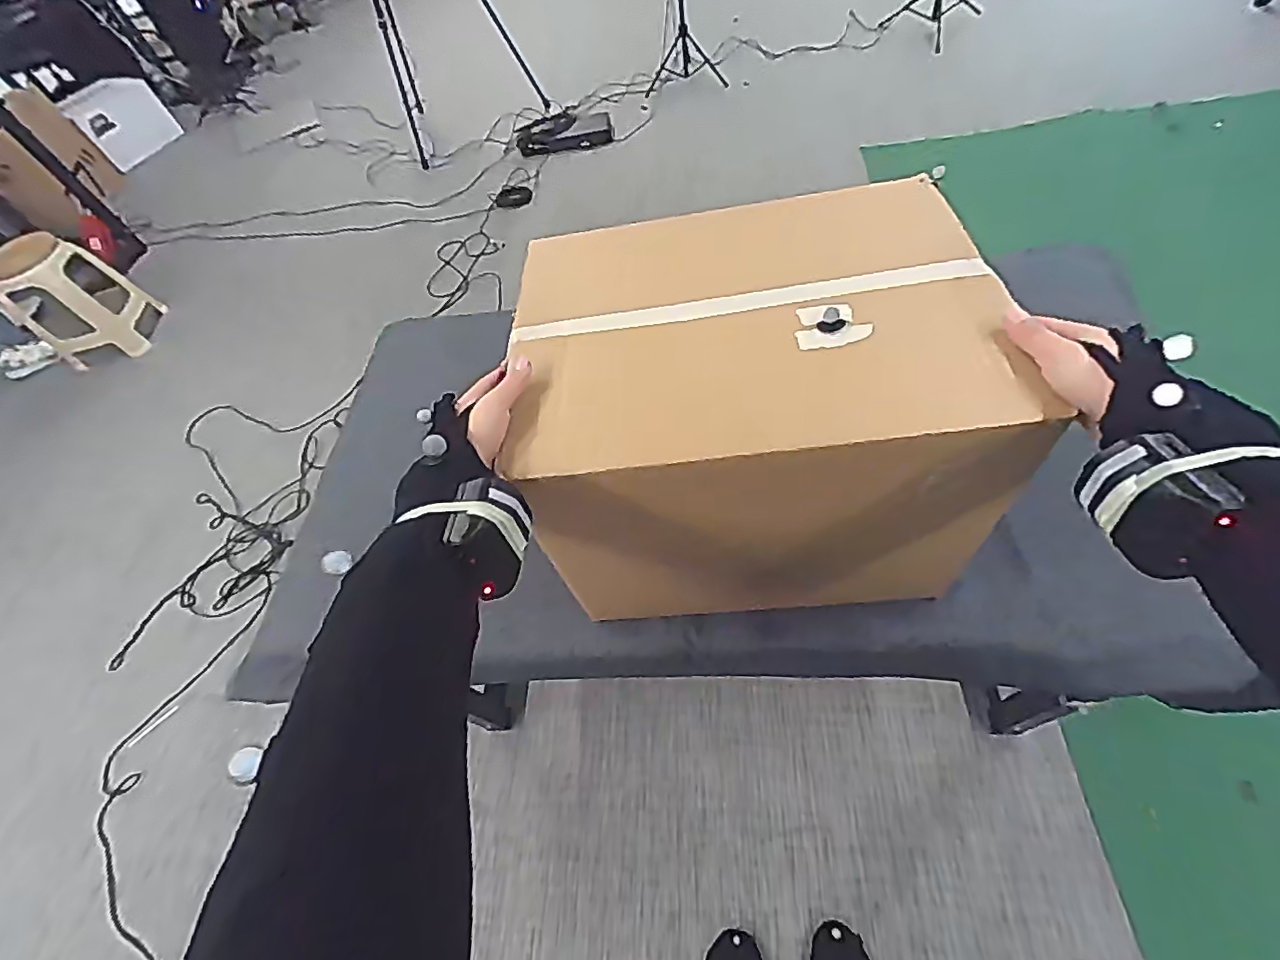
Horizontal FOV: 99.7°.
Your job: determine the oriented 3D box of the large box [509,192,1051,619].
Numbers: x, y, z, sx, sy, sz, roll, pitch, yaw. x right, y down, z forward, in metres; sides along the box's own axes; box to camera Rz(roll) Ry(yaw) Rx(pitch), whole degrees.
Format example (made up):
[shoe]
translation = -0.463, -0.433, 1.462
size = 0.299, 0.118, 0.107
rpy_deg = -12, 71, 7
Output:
[large box]
translation = 0.108, -0.061, 0.600
size = 0.408, 0.320, 0.320
rpy_deg = -6, 55, 6
